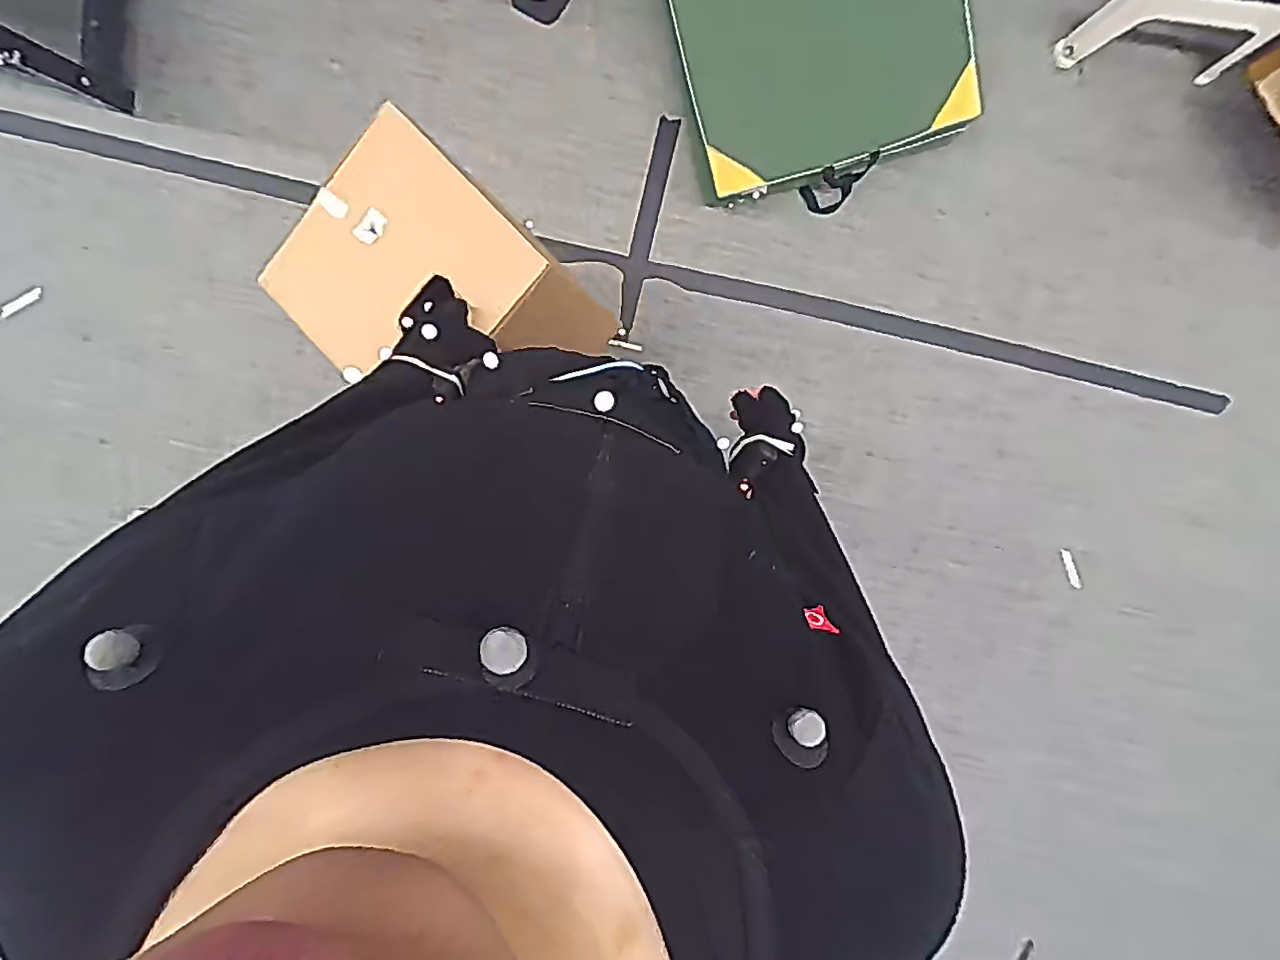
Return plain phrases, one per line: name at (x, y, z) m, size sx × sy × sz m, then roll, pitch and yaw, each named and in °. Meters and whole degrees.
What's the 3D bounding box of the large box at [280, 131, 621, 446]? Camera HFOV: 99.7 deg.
large box at (-0.285, -0.289, 0.931) m, size 0.320 × 0.408 × 0.320 m, roll -43°, pitch 89°, yaw 14°
